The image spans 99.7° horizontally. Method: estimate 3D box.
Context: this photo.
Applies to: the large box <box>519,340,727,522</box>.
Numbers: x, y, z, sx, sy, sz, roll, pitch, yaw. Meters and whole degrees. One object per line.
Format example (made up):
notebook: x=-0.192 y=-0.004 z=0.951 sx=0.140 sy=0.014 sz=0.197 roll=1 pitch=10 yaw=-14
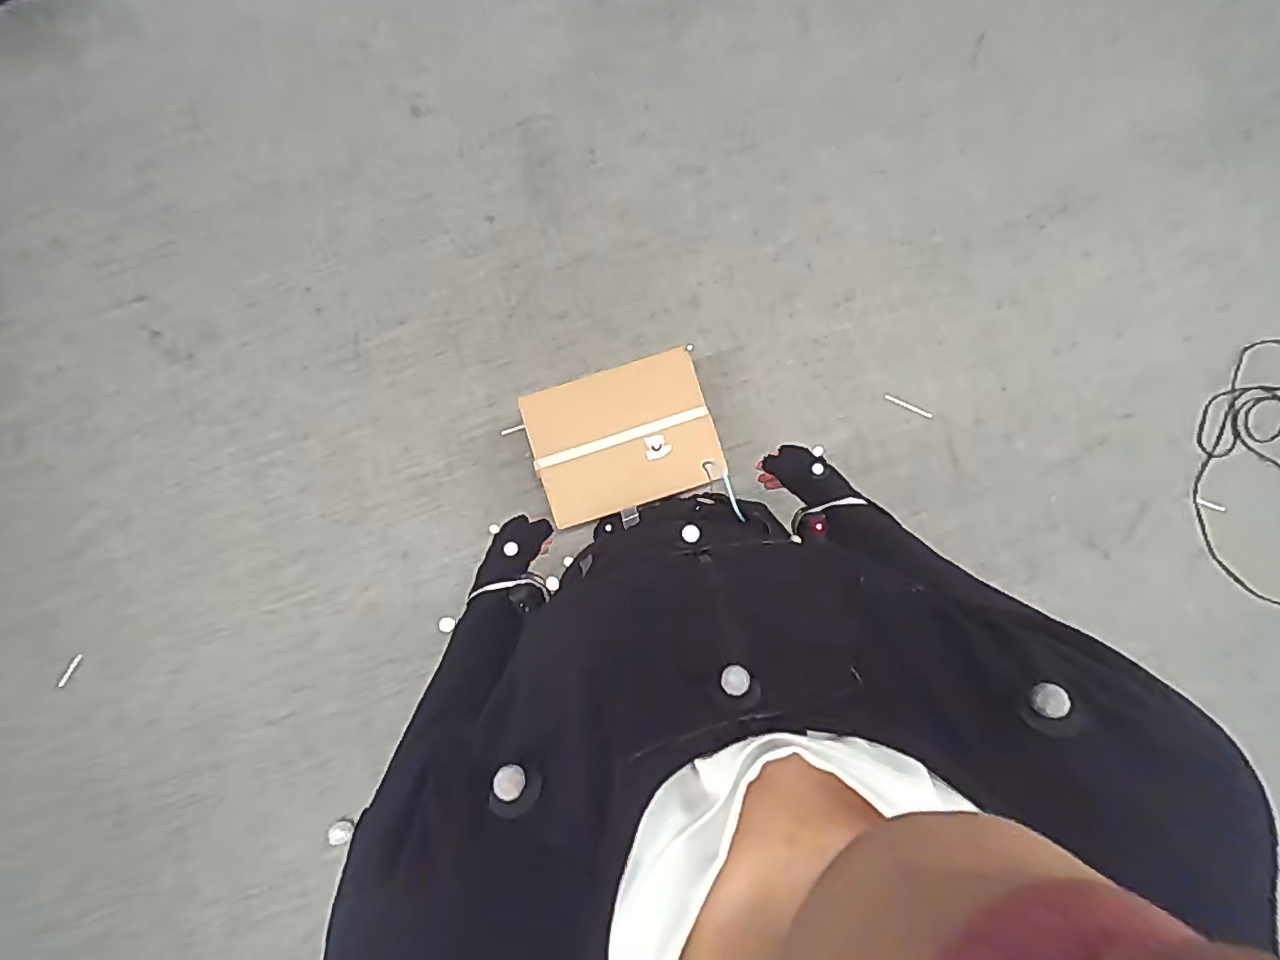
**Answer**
large box: x=-0.040 y=-0.102 z=1.353 sx=0.408 sy=0.320 sz=0.320 roll=-18 pitch=88 yaw=-1
